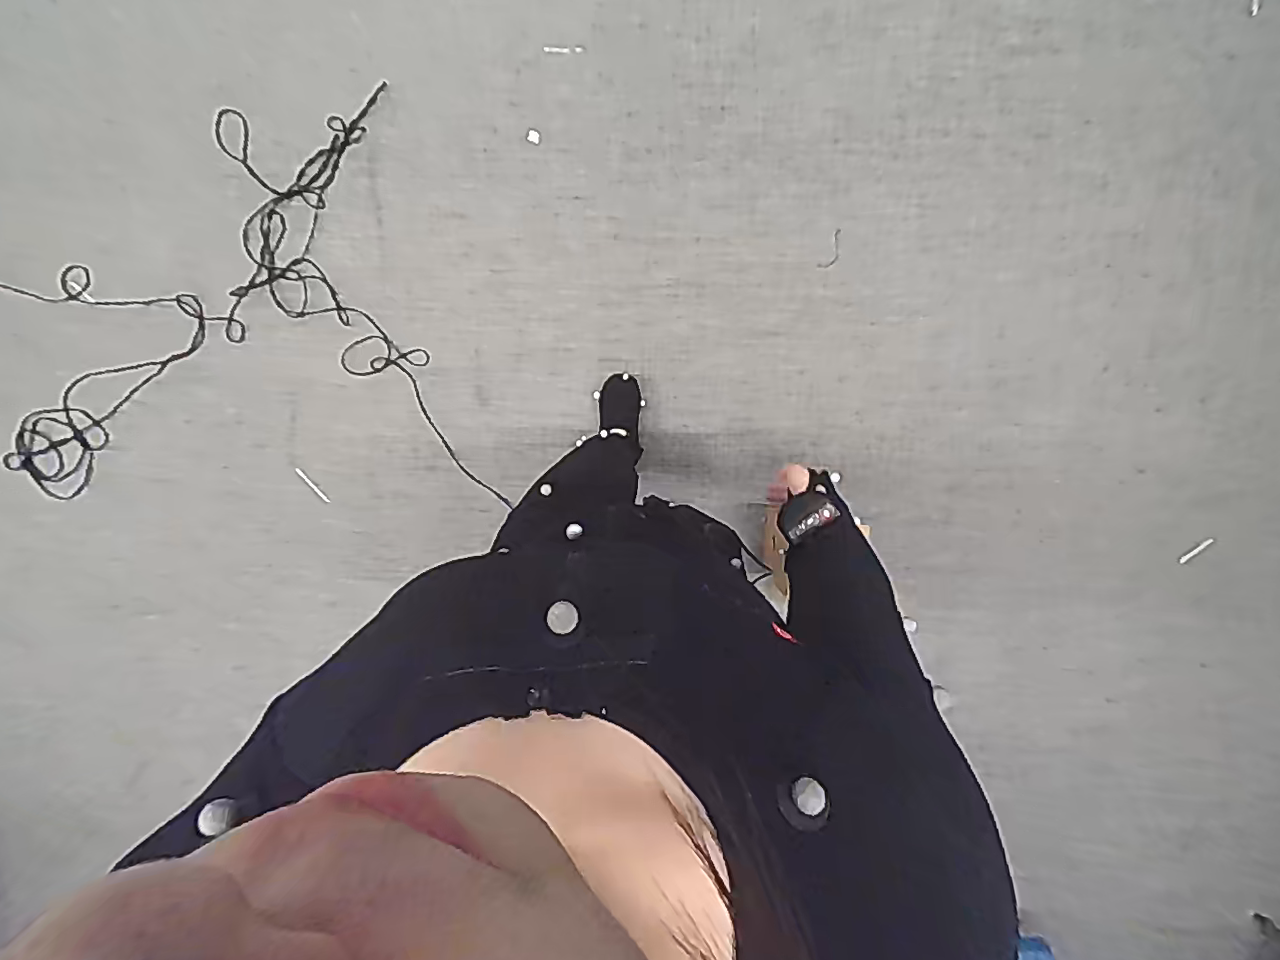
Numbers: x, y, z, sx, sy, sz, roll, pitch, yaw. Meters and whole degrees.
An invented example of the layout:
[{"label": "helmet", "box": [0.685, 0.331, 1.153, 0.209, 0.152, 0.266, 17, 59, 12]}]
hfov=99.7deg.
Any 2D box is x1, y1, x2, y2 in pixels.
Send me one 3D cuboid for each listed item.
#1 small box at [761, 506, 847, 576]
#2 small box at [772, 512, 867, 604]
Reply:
[{"label": "small box", "box": [0.417, 0.160, 1.399, 0.179, 0.176, 0.168, 3, 93, 2]}, {"label": "small box", "box": [0.402, 0.170, 1.235, 0.168, 0.176, 0.179, 4, 93, 3]}]
